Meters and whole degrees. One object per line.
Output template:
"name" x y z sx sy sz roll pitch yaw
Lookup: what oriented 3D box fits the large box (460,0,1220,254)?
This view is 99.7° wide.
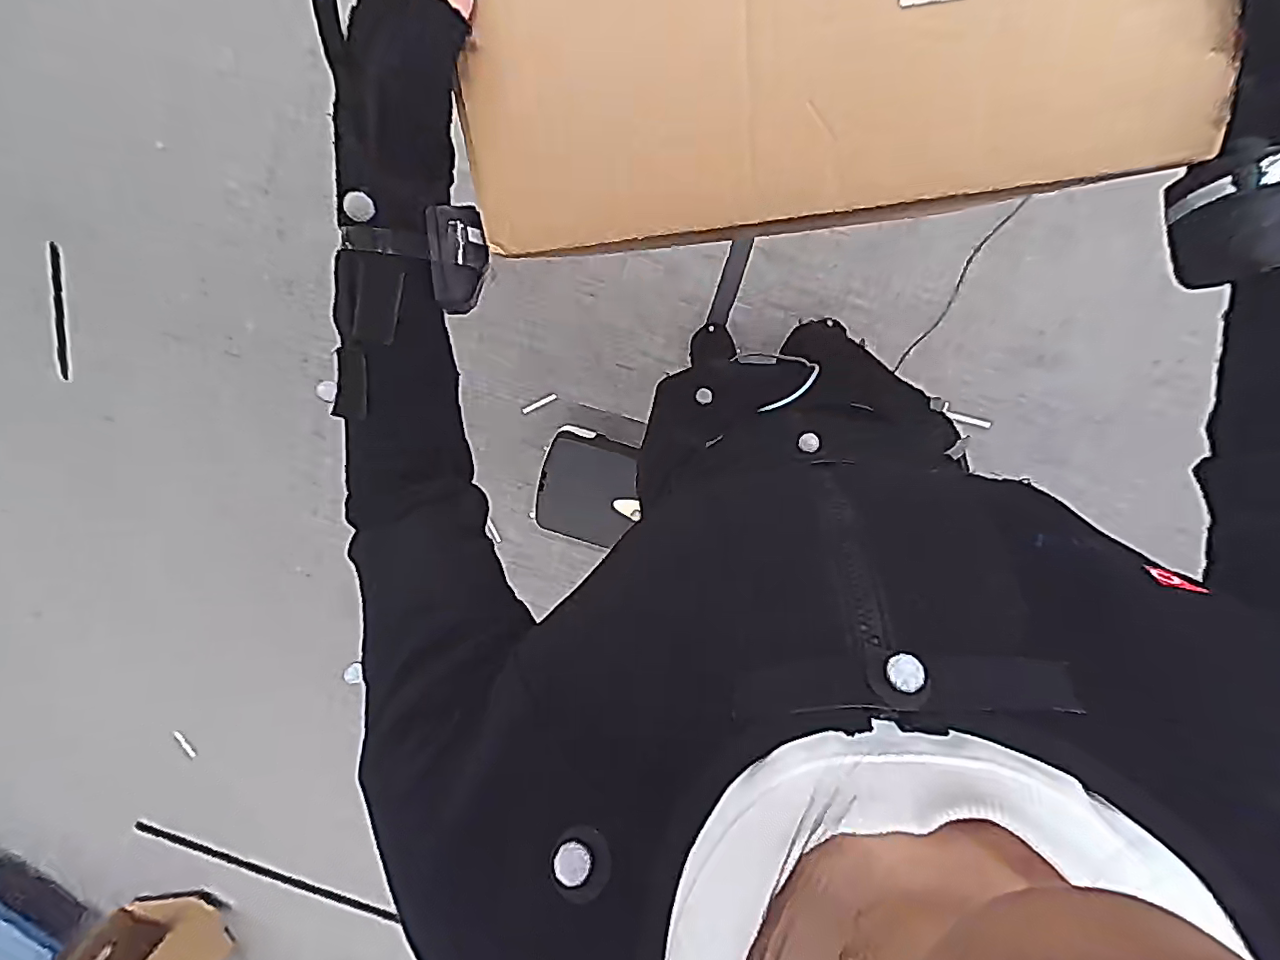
"large box" 0.103 -0.365 0.410 0.408 0.320 0.320 -4 112 8
